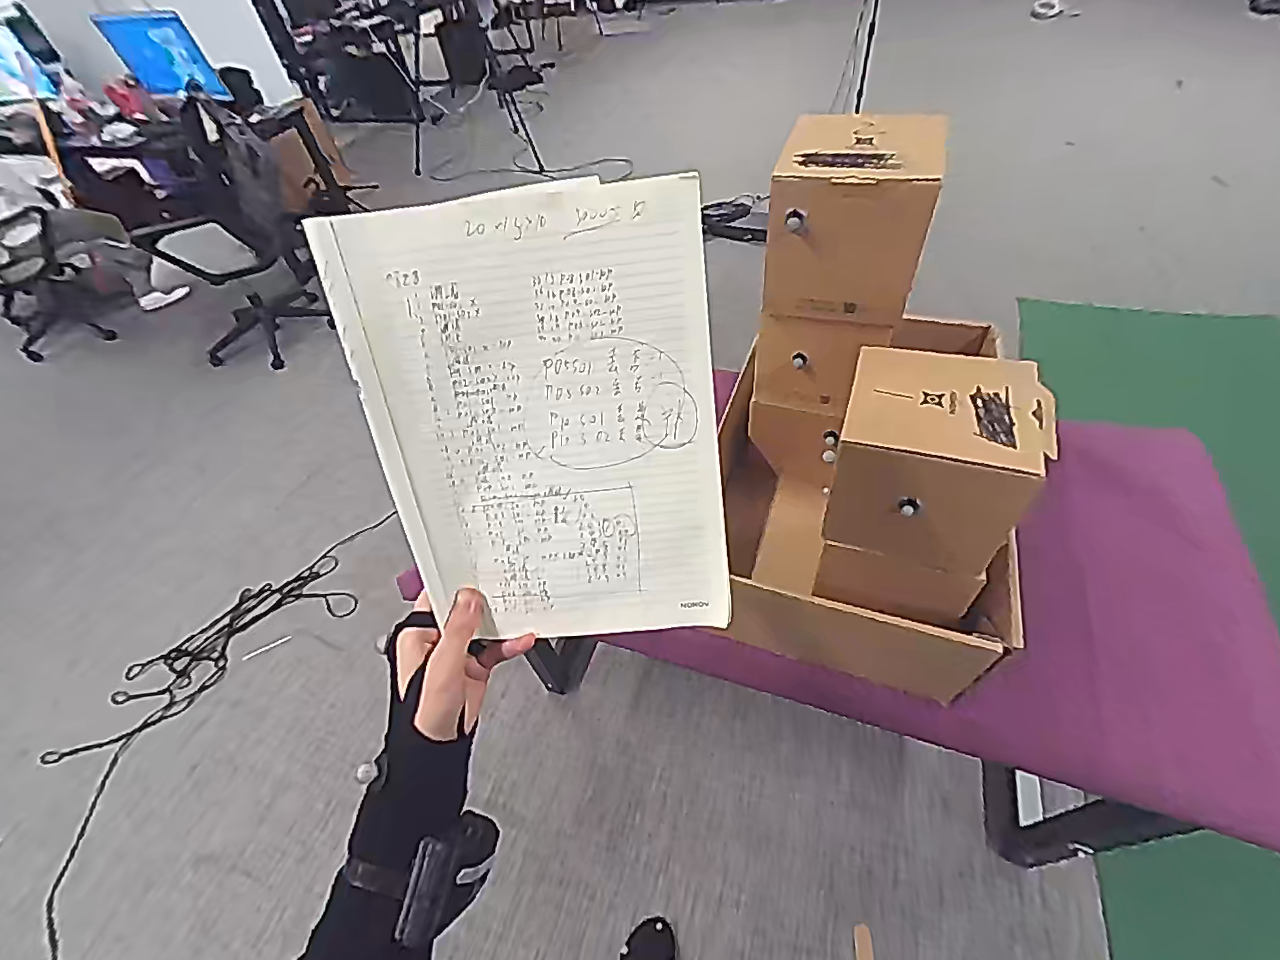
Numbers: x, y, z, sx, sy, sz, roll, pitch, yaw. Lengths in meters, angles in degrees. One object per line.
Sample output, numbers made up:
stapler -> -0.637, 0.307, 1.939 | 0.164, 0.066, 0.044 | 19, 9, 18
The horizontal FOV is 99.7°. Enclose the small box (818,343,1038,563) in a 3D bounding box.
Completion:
small box -> 0.311, -0.028, 0.608 | 0.179, 0.176, 0.168 | 12, 51, 21

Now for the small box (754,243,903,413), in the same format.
small box -> 0.267, -0.218, 0.787 | 0.168, 0.176, 0.179 | 13, 54, 19
